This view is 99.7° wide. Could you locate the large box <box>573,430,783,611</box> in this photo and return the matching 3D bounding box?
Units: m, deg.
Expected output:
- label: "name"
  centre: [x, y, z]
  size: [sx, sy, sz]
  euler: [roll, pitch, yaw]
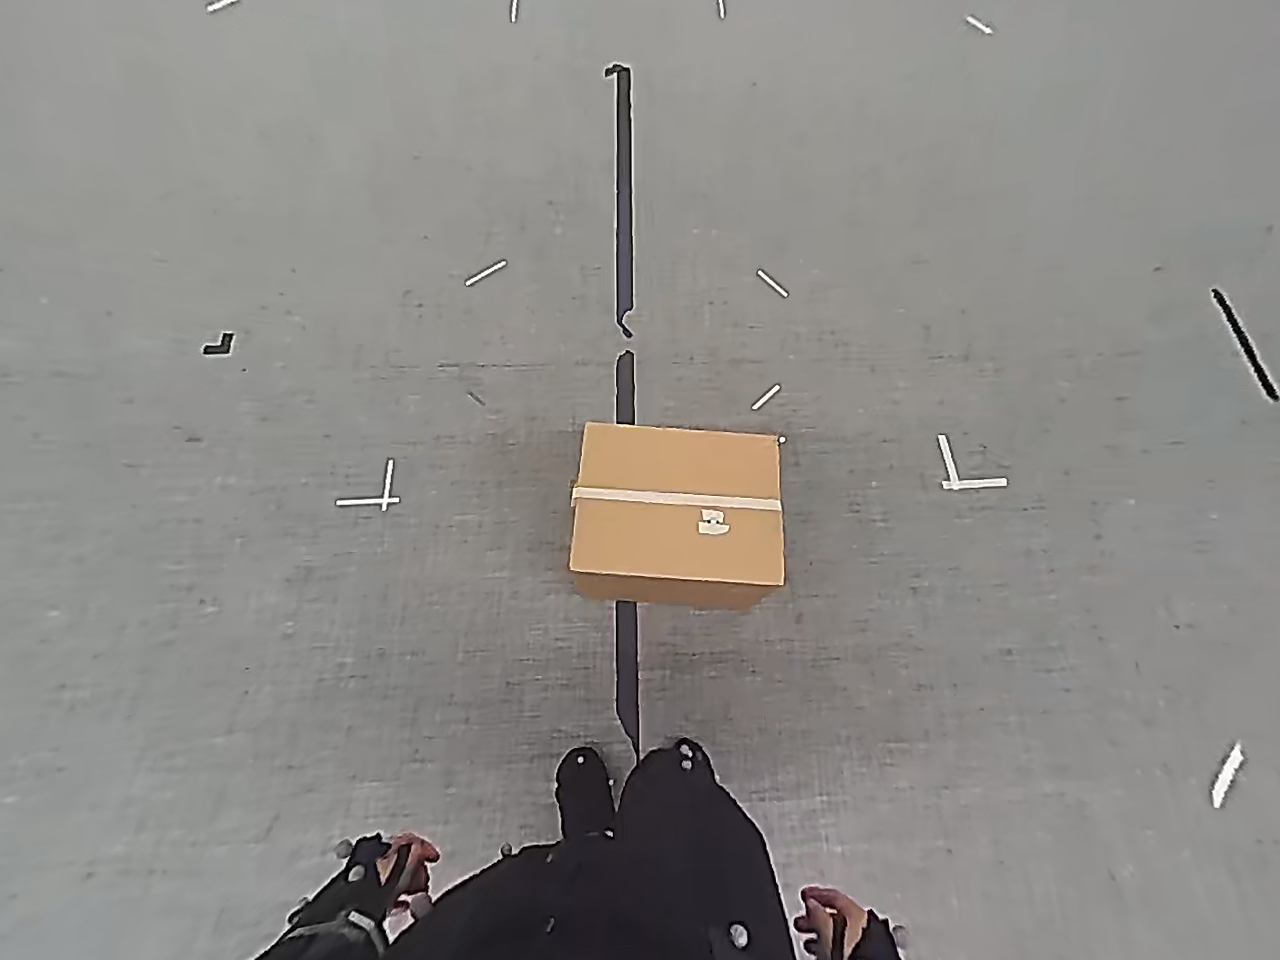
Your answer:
- label: "large box"
  centre: [0.069, 0.105, 1.201]
  size: [0.408, 0.320, 0.320]
  euler: [4, 69, -1]
